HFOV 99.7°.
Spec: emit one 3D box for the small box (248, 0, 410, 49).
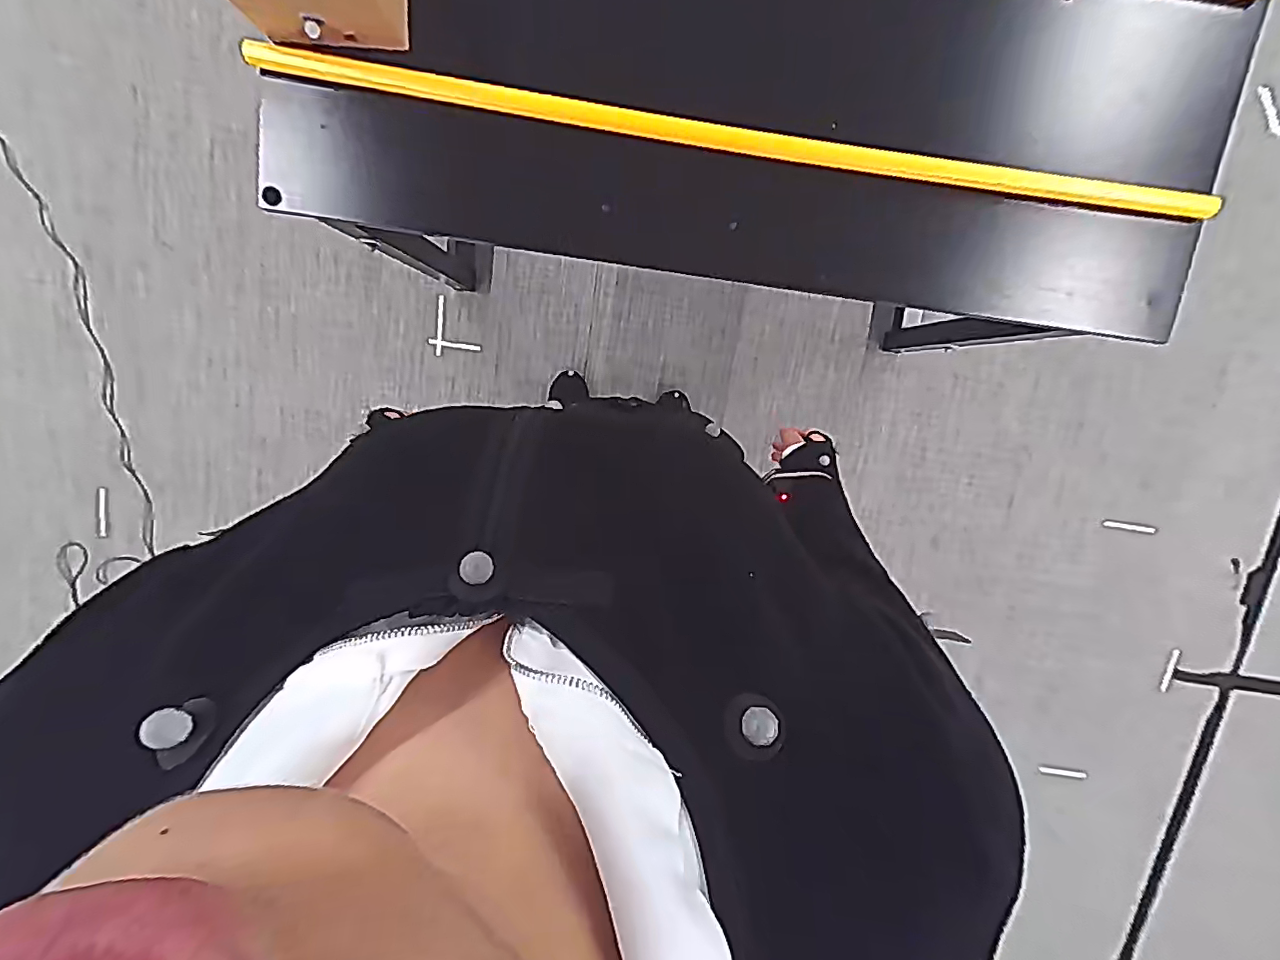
[{"bbox_3d":[-0.350,-0.598,0.557,0.168,0.176,0.179,3,101,-2],"label":"small box"}]
